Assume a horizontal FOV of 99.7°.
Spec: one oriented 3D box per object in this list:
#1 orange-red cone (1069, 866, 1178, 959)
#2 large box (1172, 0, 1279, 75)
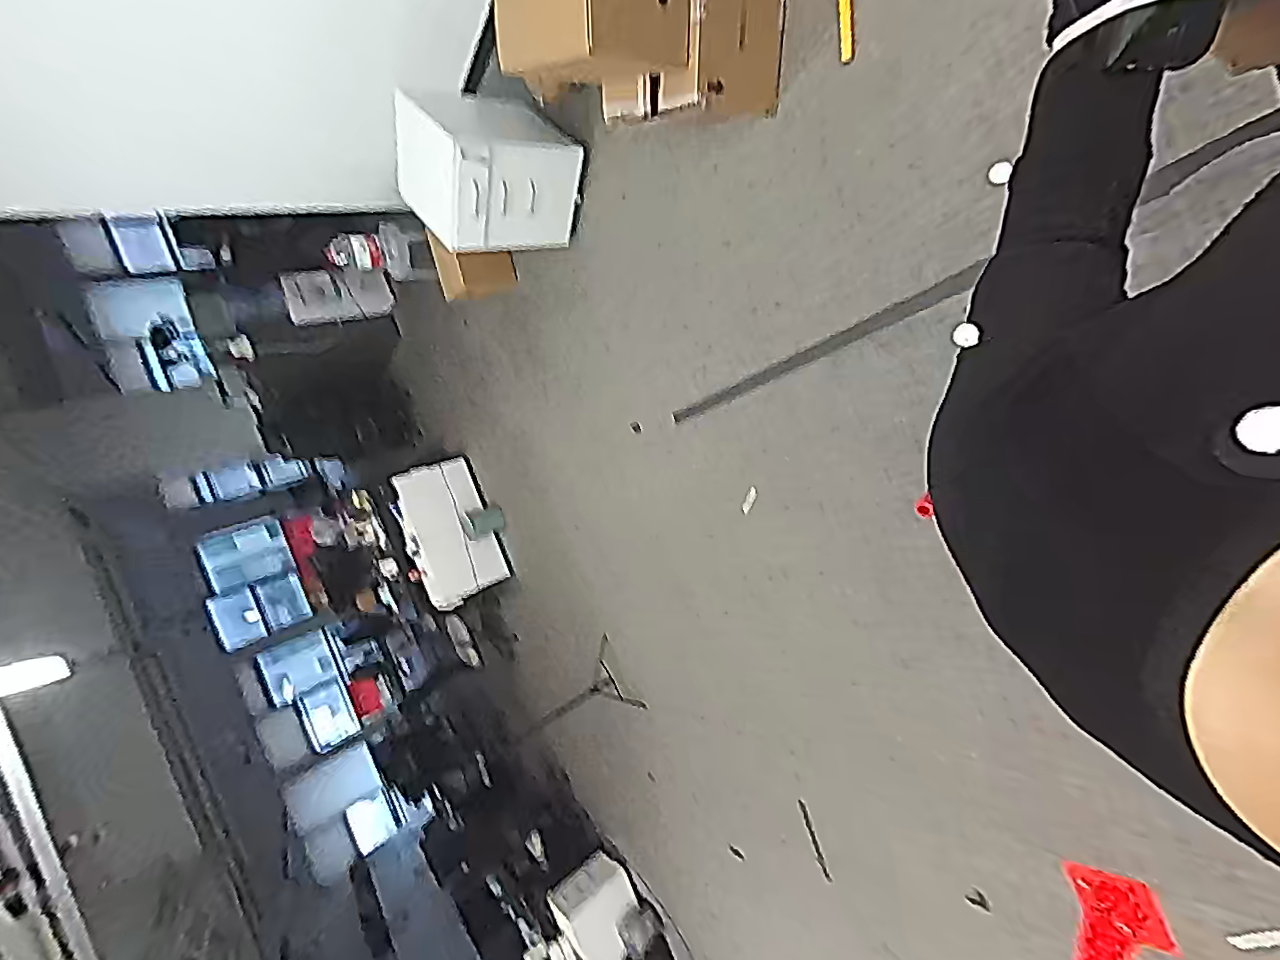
[{"bbox_3d":[1.191,1.235,1.389,0.198,0.360,0.199,-23,90,56],"label":"orange-red cone"},{"bbox_3d":[0.565,-0.465,0.251,0.408,0.320,0.320,15,119,48],"label":"large box"}]
